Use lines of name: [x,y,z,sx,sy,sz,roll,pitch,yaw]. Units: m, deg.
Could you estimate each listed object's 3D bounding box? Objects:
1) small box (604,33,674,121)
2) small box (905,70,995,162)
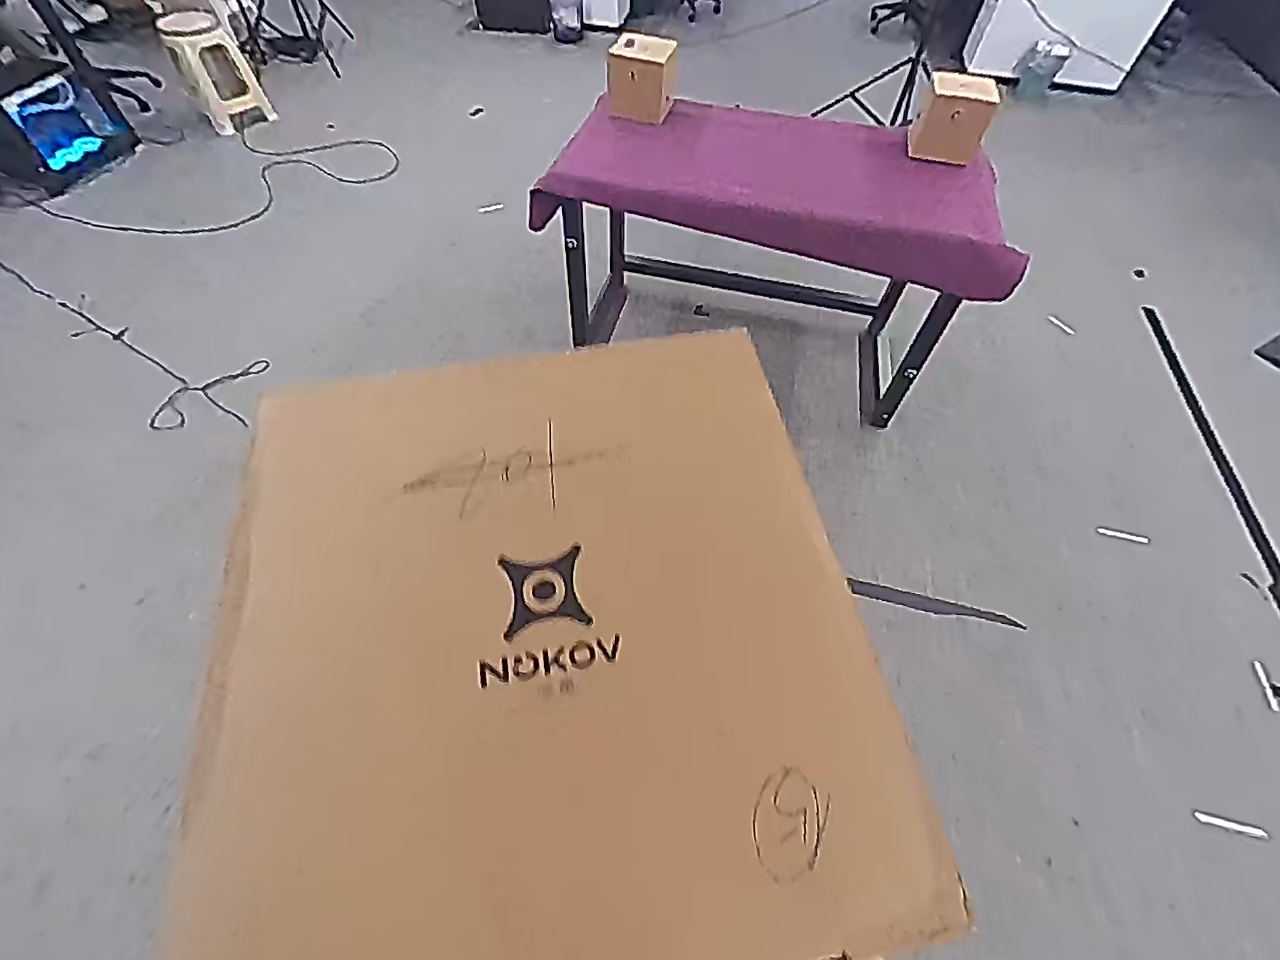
small box: [-0.005,-1.244,1.674,0.179,0.176,0.168,15,58,7]
small box: [0.896,-1.063,1.583,0.179,0.176,0.168,14,57,6]
